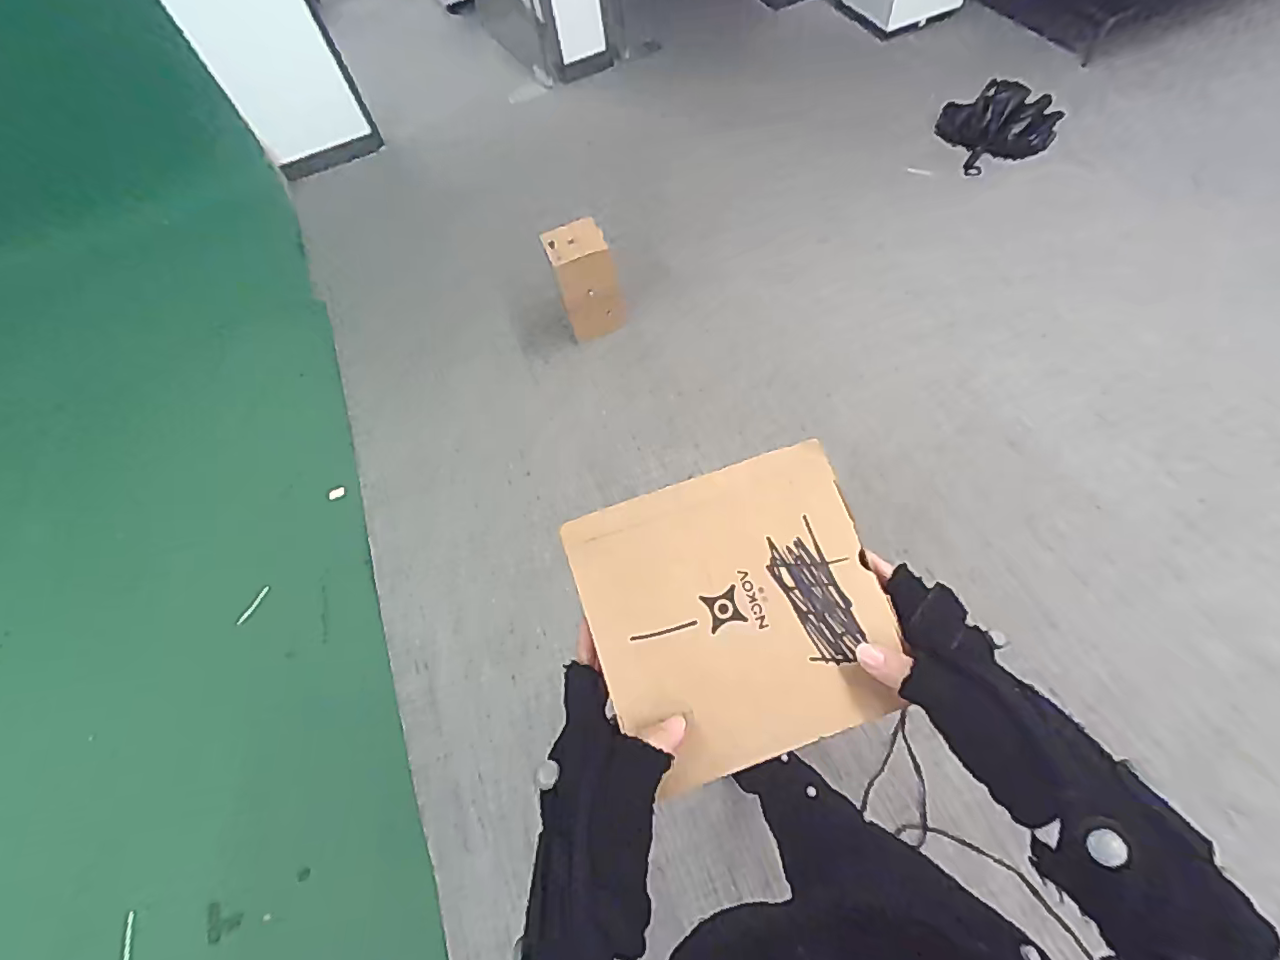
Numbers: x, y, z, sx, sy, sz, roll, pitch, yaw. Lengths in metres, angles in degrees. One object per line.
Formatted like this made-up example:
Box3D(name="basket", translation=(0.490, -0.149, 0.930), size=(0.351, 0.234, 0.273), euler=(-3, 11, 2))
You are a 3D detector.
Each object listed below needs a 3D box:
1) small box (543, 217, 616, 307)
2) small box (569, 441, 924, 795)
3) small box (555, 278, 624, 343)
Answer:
Box3D(name="small box", translation=(-0.181, -0.674, 1.682), size=(0.179, 0.176, 0.168), euler=(-21, 61, -4))
Box3D(name="small box", translation=(0.060, 0.094, 0.406), size=(0.179, 0.176, 0.168), euler=(-21, 76, -6))
Box3D(name="small box", translation=(-0.163, -0.601, 1.828), size=(0.179, 0.176, 0.168), euler=(-25, 61, -4))
